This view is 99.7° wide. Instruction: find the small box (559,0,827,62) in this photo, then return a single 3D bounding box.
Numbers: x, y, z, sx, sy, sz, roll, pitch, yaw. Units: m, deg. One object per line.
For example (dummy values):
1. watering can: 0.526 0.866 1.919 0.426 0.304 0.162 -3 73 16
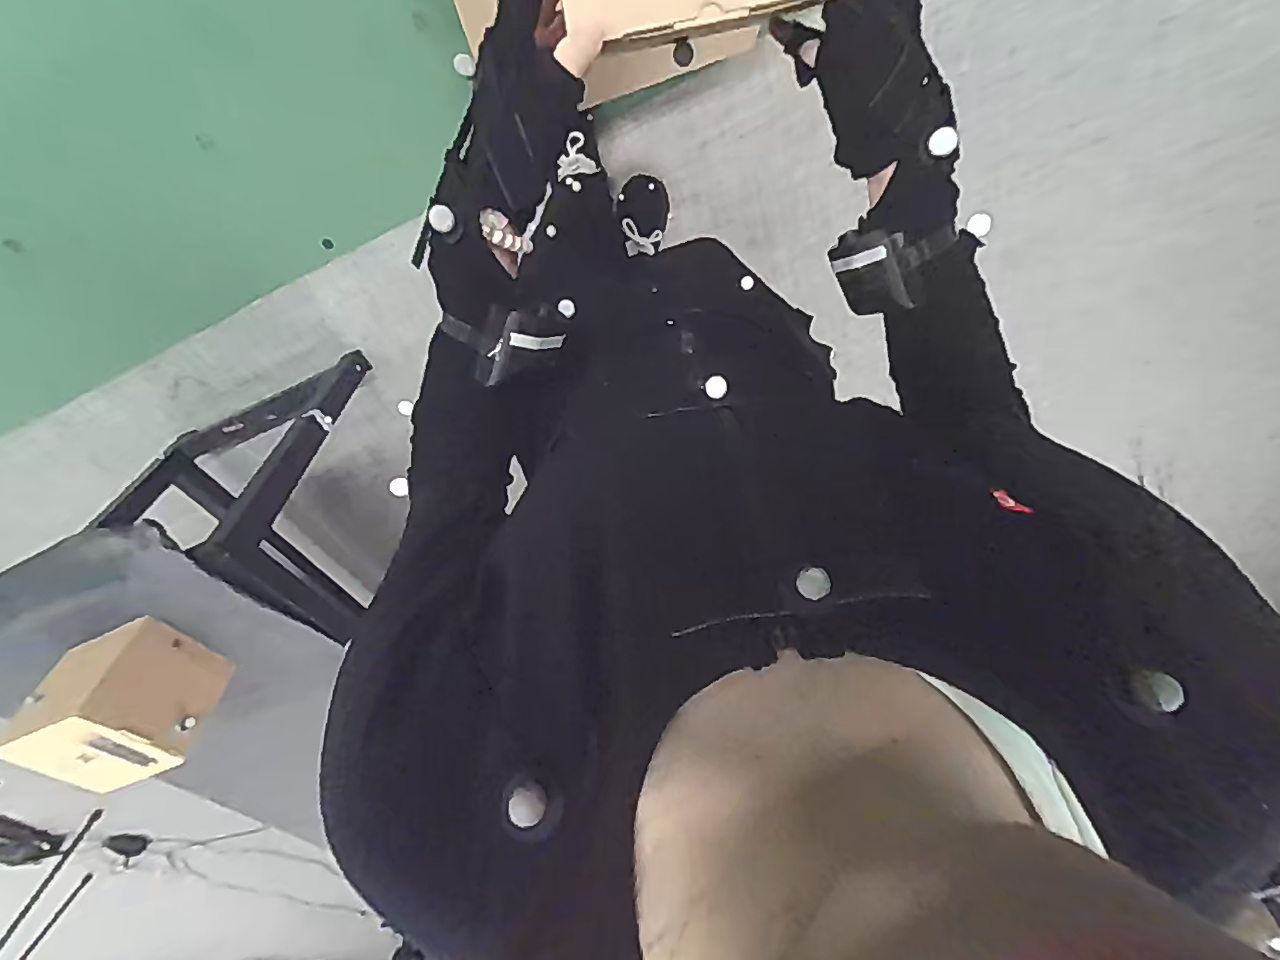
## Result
1. small box: 0.018 -0.380 0.327 0.168 0.176 0.179 -10 126 2
